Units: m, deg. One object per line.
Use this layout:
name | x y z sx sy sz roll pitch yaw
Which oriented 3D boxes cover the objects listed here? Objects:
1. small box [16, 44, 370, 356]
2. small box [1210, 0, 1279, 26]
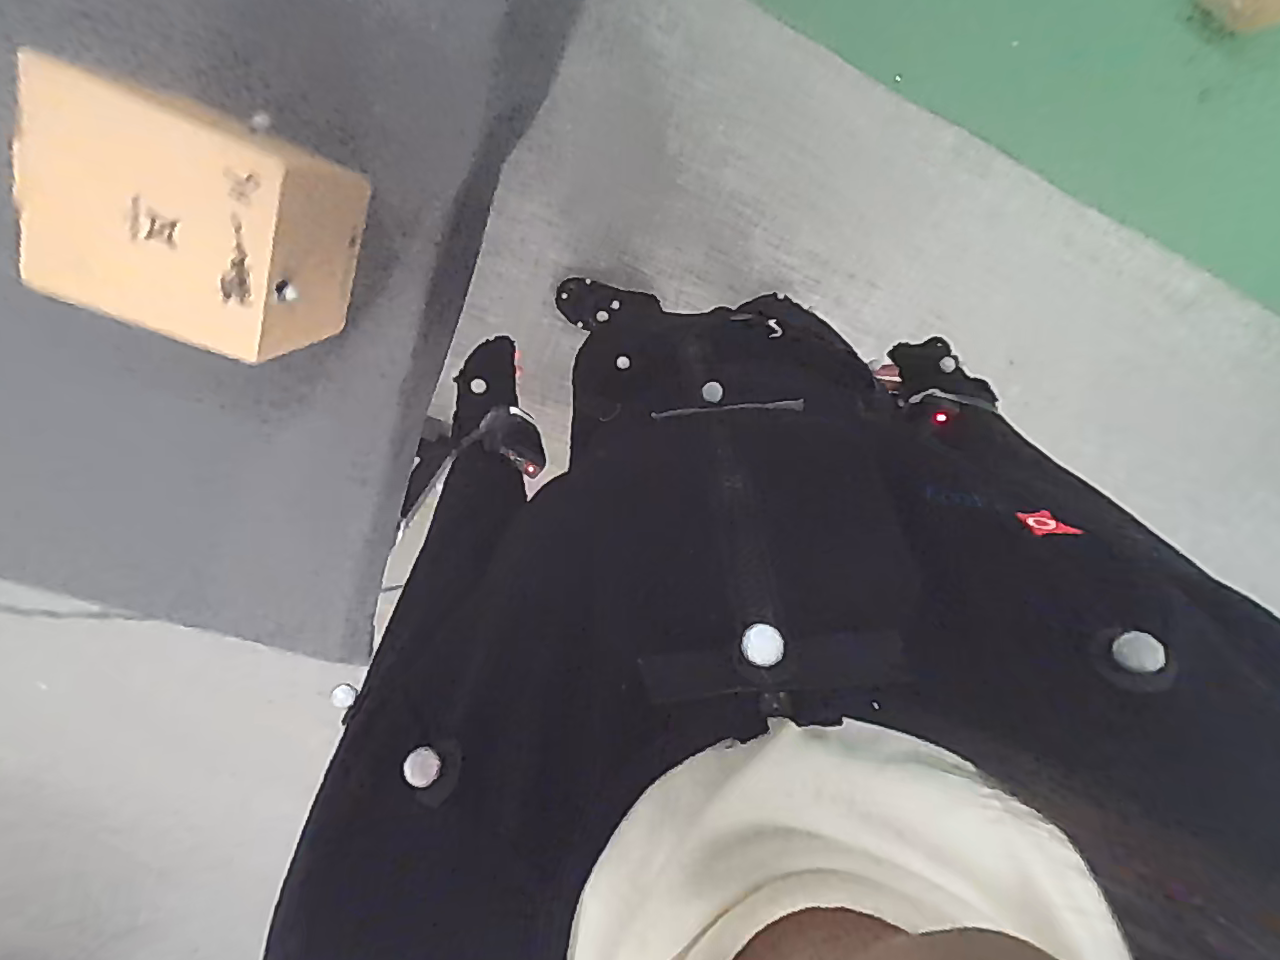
small box | -0.377 -0.232 0.484 0.179 0.176 0.168 20 113 -11
small box | 1.231 -1.008 1.005 0.168 0.176 0.179 23 112 -11
